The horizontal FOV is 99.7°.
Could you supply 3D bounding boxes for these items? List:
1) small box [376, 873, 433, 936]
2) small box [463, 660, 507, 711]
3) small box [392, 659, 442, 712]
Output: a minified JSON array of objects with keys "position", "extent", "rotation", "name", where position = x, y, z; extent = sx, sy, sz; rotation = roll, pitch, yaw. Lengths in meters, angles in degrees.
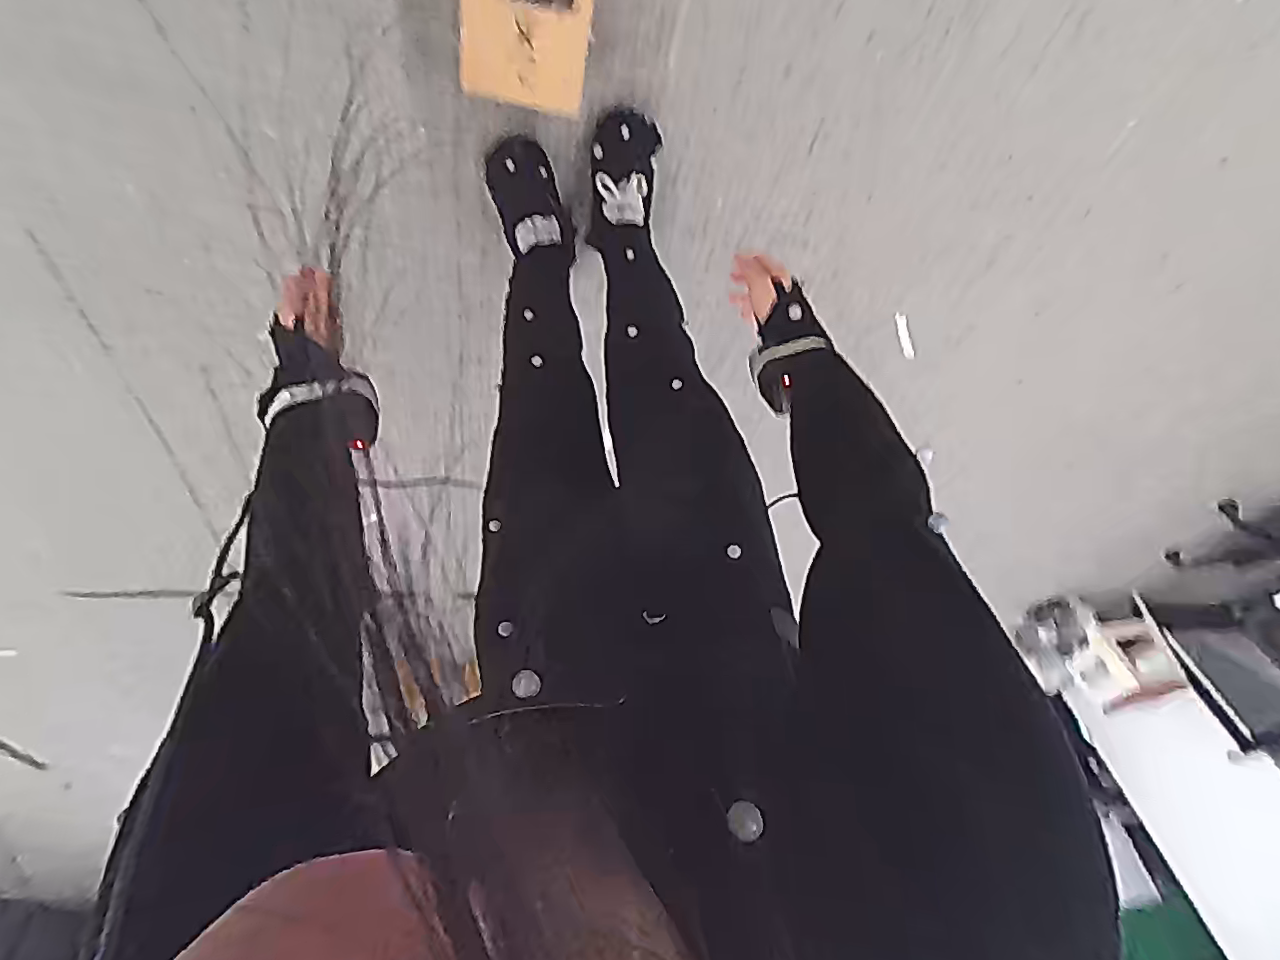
[{"position":[-0.908,1.639,2.089],"extent":[0.168,0.176,0.179],"rotation":[12,134,-23],"name":"small box"},{"position":[-0.697,0.923,2.433],"extent":[0.179,0.176,0.168],"rotation":[5,135,-16],"name":"small box"},{"position":[-0.964,0.890,2.343],"extent":[0.179,0.176,0.168],"rotation":[7,136,-18],"name":"small box"}]
